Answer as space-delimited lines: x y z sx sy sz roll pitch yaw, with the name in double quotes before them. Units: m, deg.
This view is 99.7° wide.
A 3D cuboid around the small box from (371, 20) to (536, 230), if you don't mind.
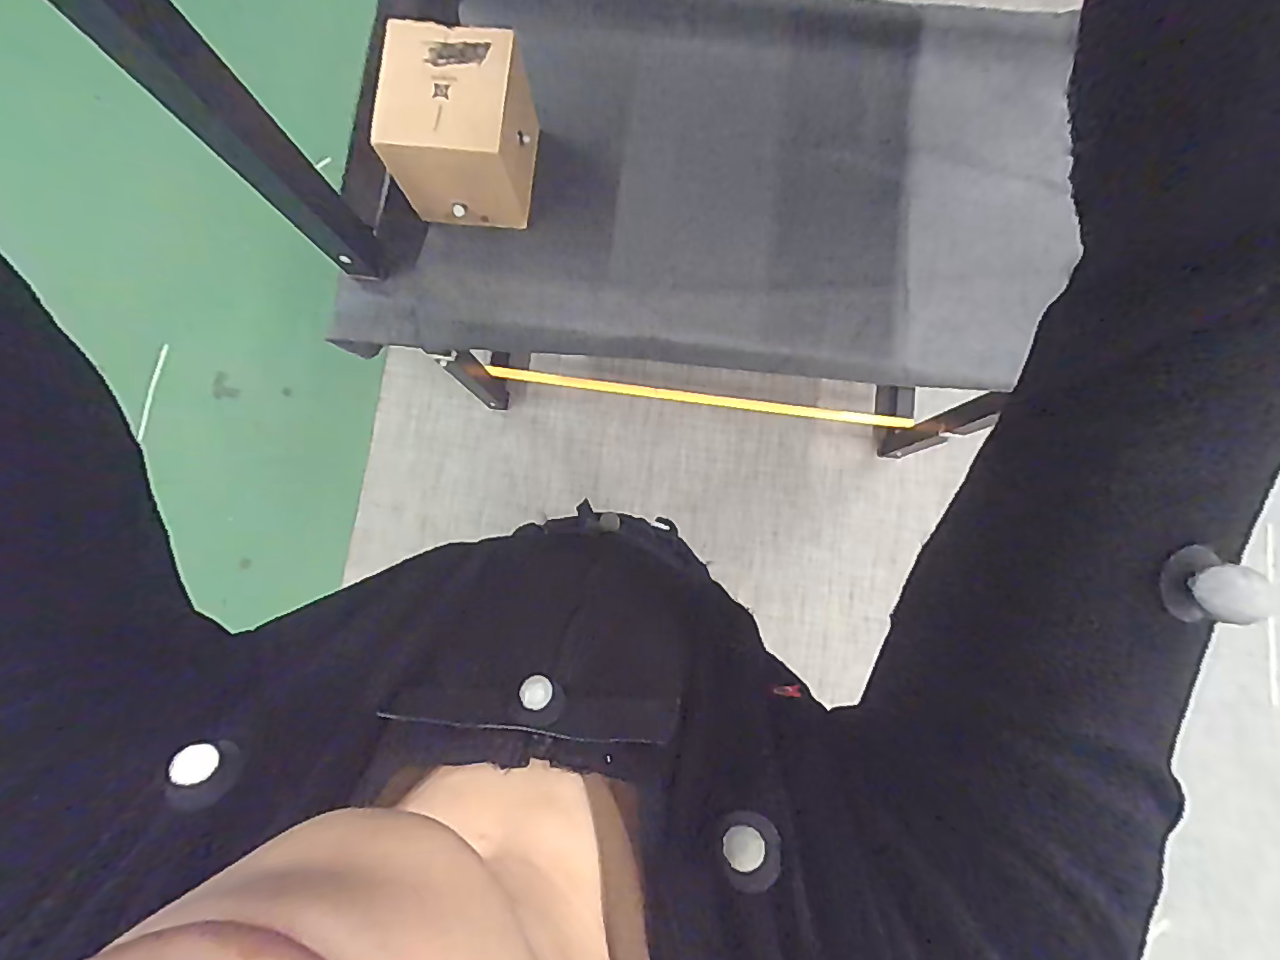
"small box" -0.247 -0.486 0.761 0.168 0.176 0.179 5 83 1
